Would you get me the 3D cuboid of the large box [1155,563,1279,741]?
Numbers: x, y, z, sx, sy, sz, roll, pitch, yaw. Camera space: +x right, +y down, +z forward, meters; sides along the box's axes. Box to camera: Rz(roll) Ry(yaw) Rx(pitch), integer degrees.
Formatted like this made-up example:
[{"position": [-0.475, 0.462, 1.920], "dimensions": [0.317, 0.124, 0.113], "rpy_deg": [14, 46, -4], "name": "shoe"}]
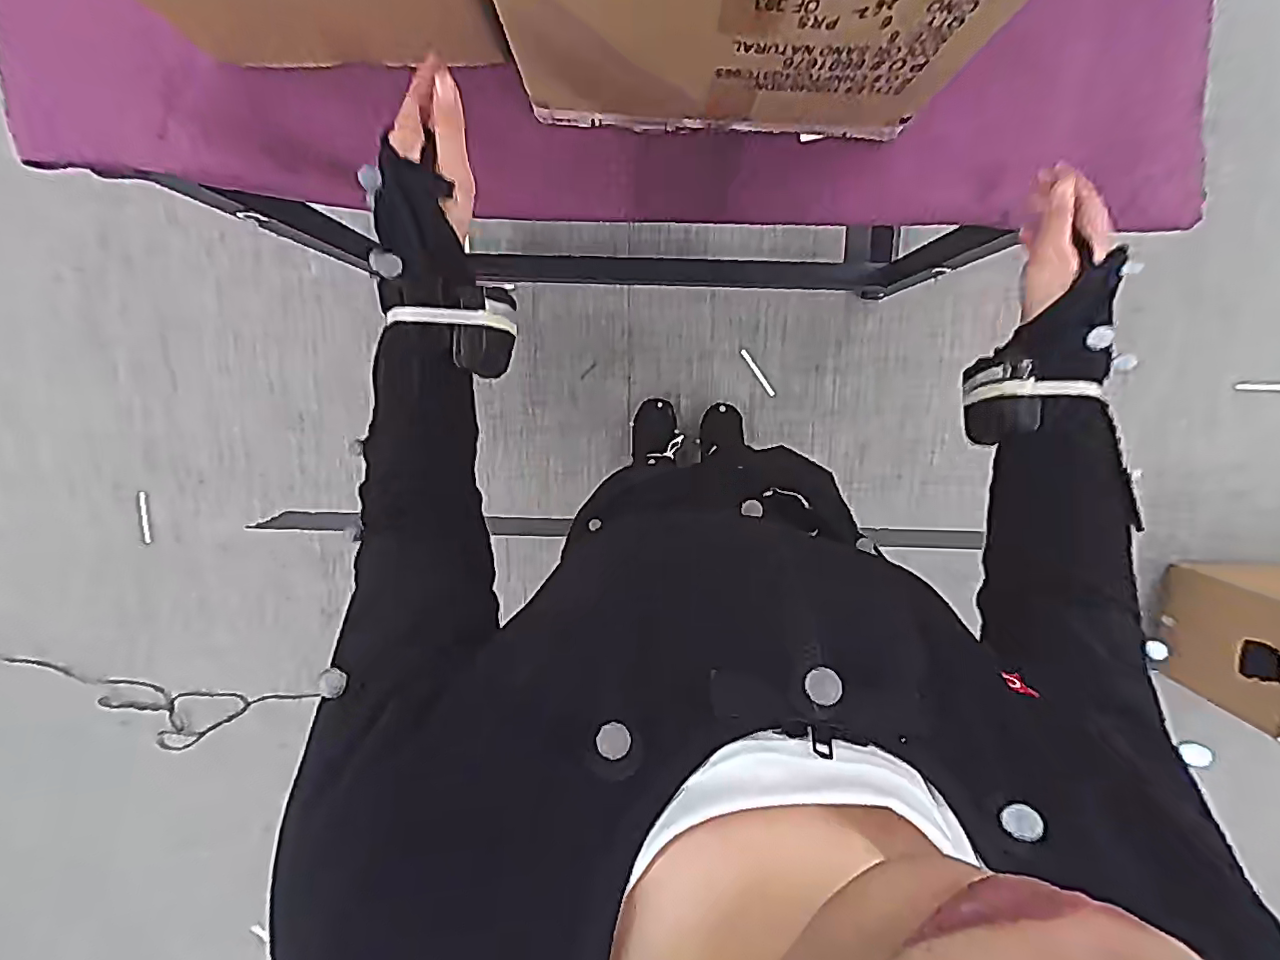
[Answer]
[{"position": [1.595, 0.392, 1.296], "dimensions": [0.408, 0.320, 0.320], "rpy_deg": [0, 99, 1], "name": "large box"}]
